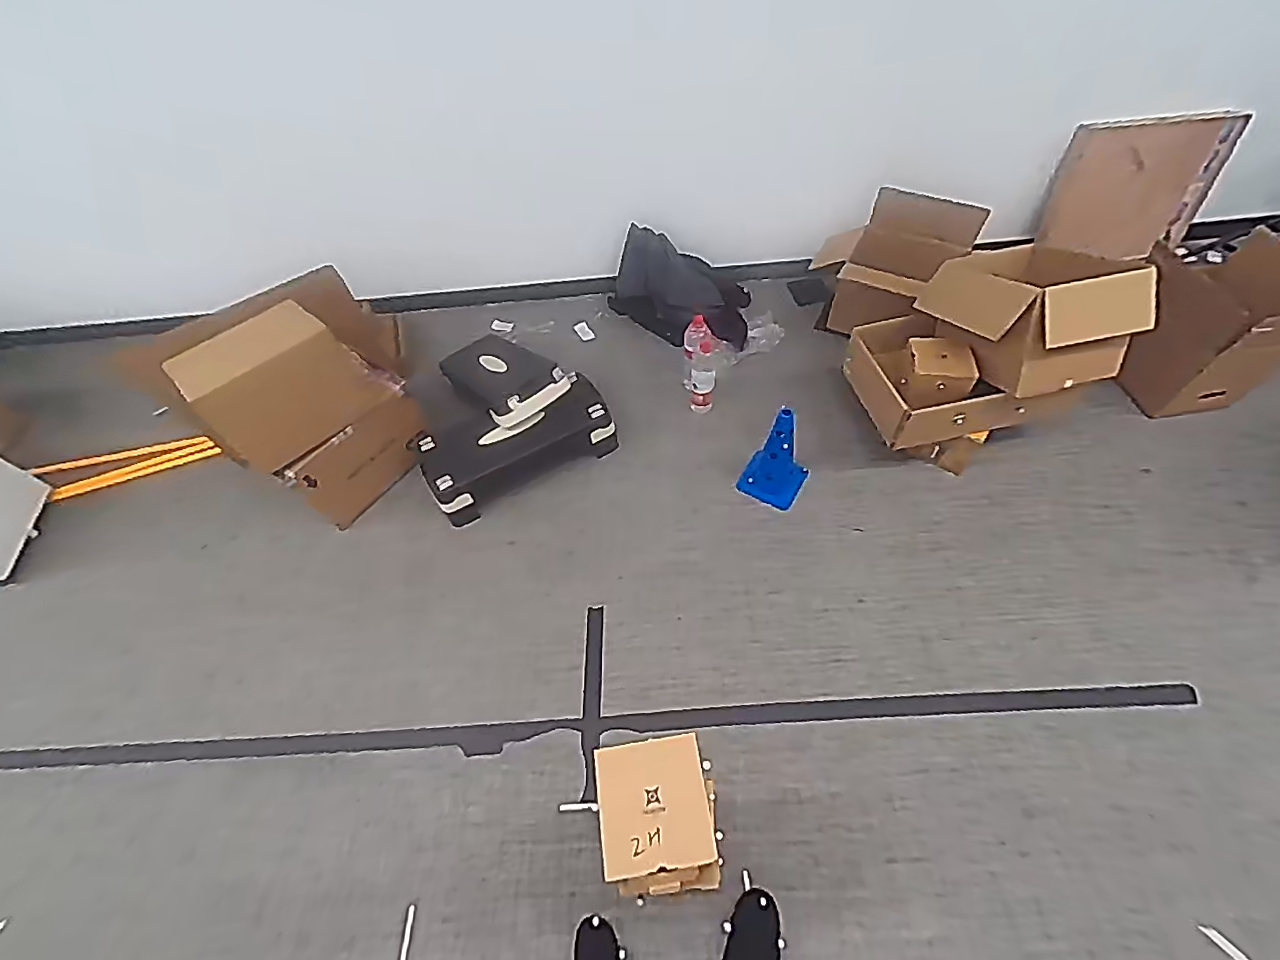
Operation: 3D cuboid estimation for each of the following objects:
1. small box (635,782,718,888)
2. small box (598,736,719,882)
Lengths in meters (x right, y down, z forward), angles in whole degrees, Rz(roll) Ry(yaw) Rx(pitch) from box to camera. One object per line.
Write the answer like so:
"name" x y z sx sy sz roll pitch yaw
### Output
"small box" 0.075 0.738 1.135 0.168 0.176 0.179 0 56 5
"small box" 0.027 0.535 0.879 0.168 0.176 0.179 -9 55 0
